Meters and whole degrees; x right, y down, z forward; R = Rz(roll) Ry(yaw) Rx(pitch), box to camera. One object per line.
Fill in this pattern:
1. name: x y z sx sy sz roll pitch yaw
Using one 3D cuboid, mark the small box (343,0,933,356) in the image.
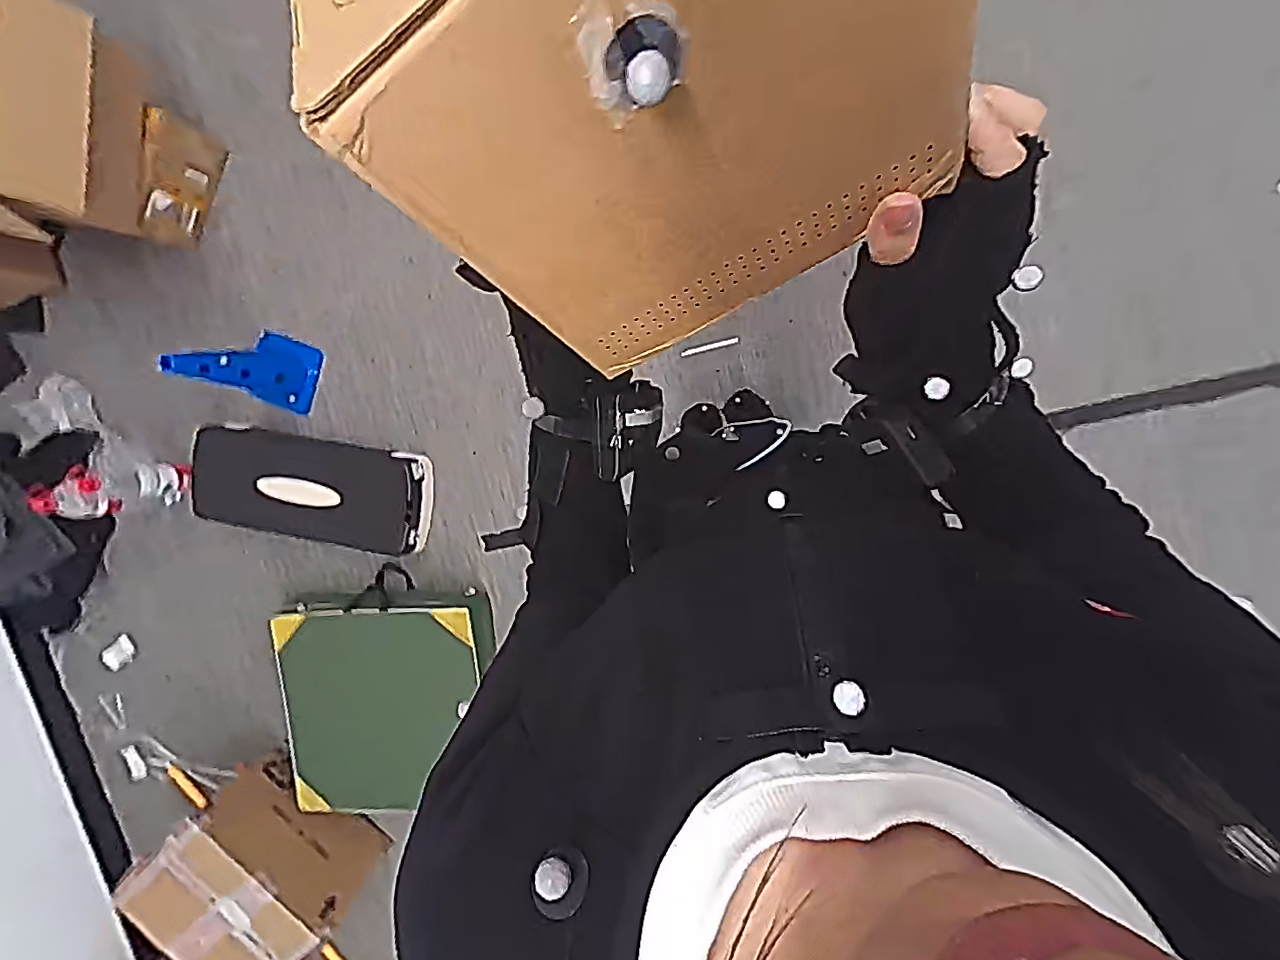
1. small box: 0.005 -0.183 0.230 0.179 0.176 0.168 -25 67 19
